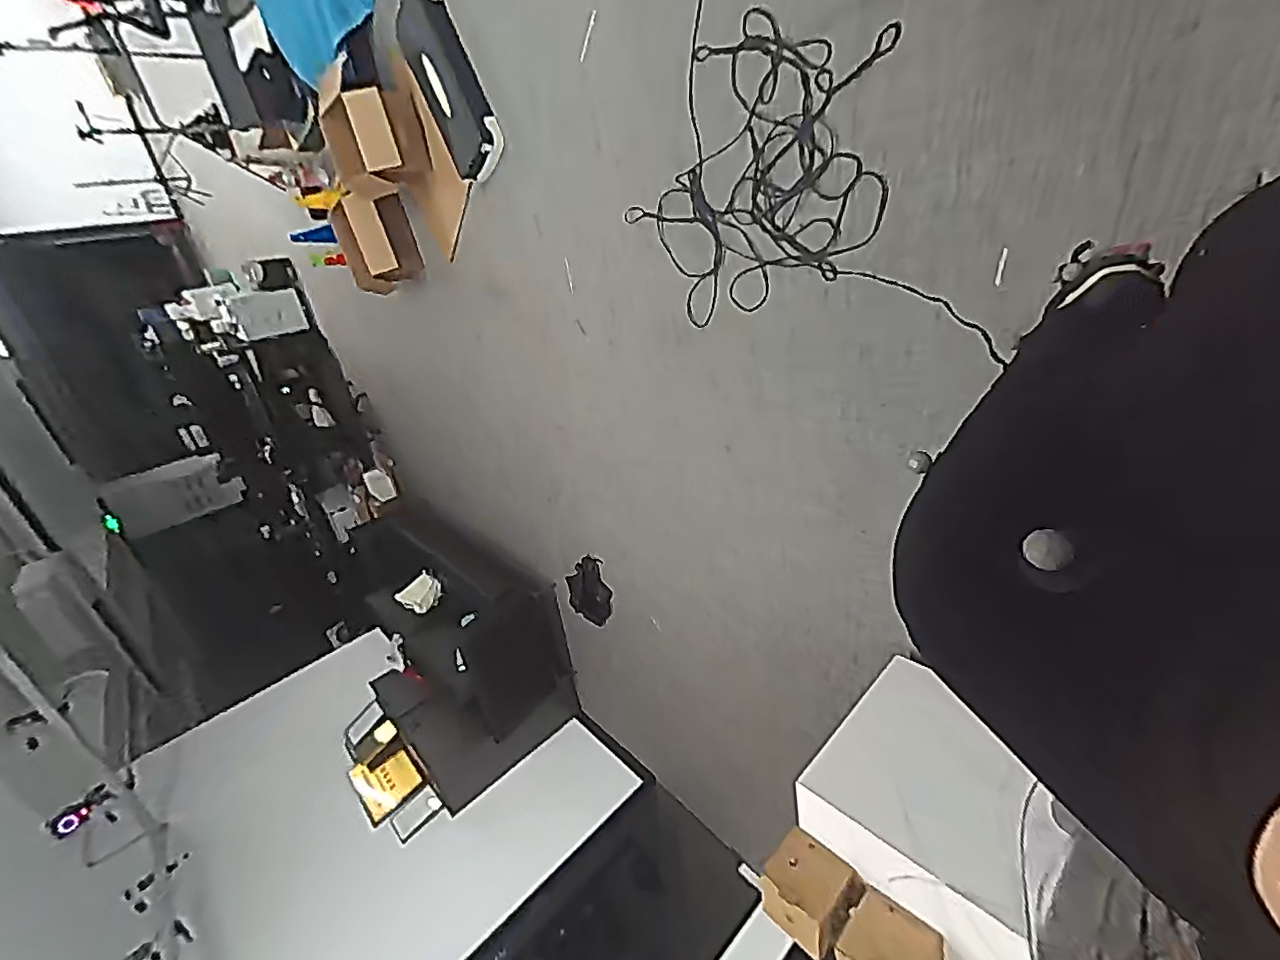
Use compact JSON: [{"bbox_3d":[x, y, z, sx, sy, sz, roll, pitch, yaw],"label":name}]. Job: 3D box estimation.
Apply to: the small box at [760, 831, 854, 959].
[{"bbox_3d":[0.420,1.040,1.360,0.168,0.176,0.179,20,128,45],"label":"small box"}]
